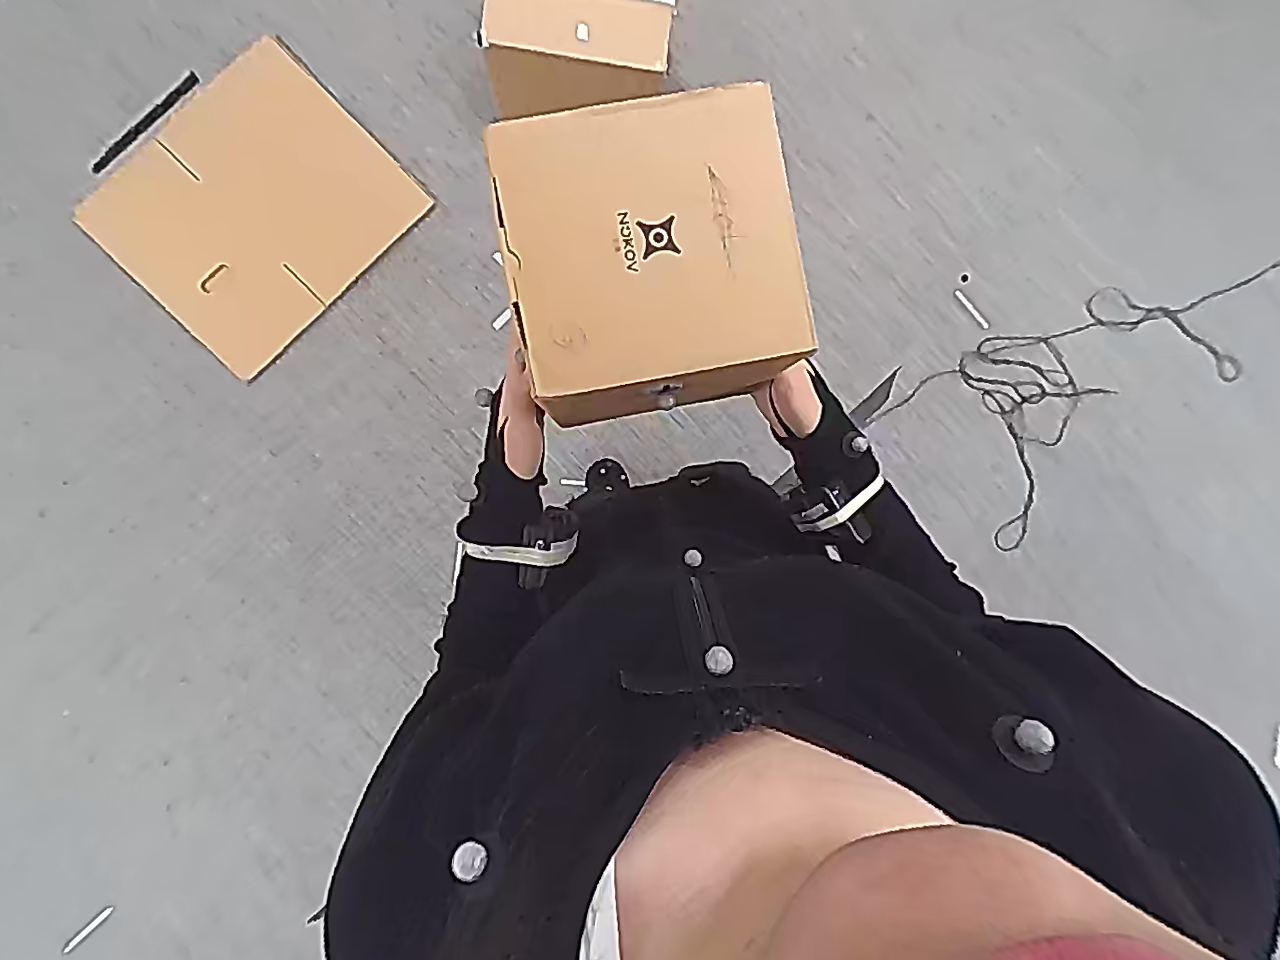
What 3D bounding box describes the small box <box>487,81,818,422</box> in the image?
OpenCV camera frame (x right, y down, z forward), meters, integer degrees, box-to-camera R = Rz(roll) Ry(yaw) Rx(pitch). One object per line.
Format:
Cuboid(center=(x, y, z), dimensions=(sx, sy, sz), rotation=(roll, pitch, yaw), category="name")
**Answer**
Cuboid(center=(0.006, -0.143, 0.400), dimensions=(0.179, 0.176, 0.168), rotation=(-11, 91, -3), category="small box")
